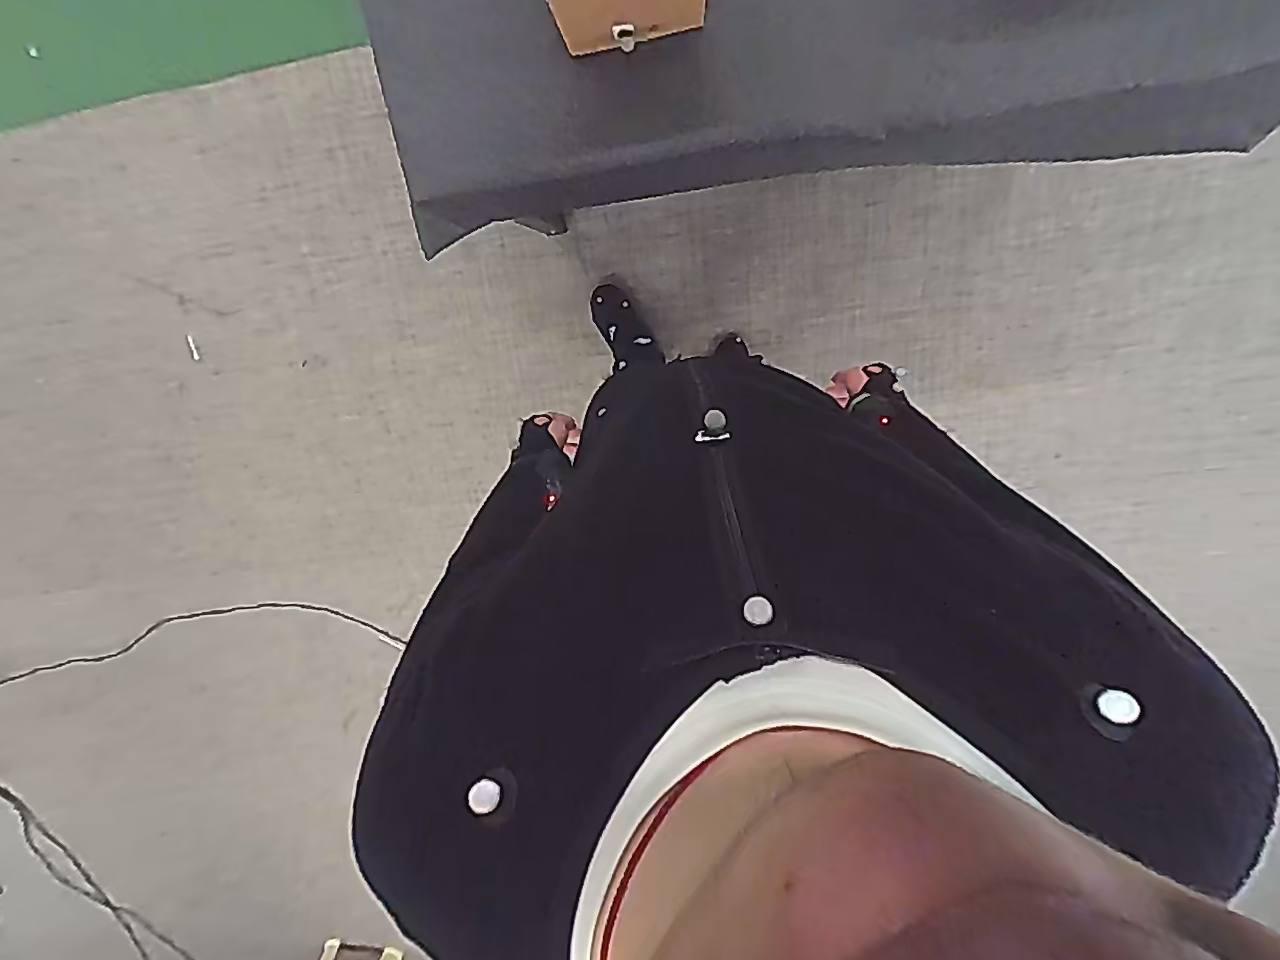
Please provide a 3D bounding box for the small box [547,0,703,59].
[{"bbox_3d":[-0.025,-0.577,0.549,0.168,0.176,0.179,-6,109,8],"label":"small box"}]
